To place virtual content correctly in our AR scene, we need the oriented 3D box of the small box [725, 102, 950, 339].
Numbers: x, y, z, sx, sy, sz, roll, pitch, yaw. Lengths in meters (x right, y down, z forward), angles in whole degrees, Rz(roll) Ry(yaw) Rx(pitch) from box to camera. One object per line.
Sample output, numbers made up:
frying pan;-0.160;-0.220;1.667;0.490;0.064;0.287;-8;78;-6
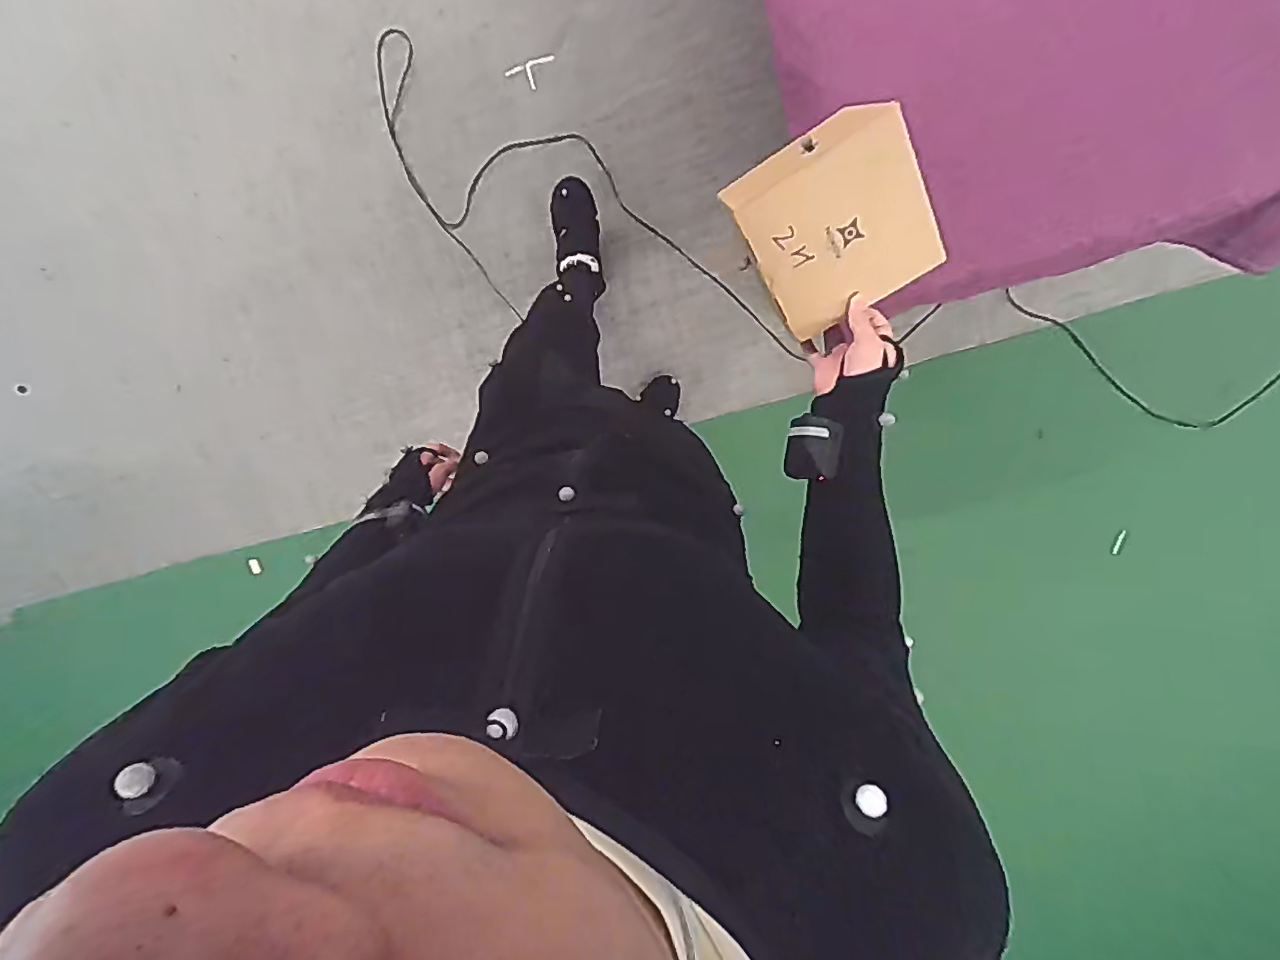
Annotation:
small box;0.214;-0.300;0.624;0.179;0.176;0.168;-27;118;18
